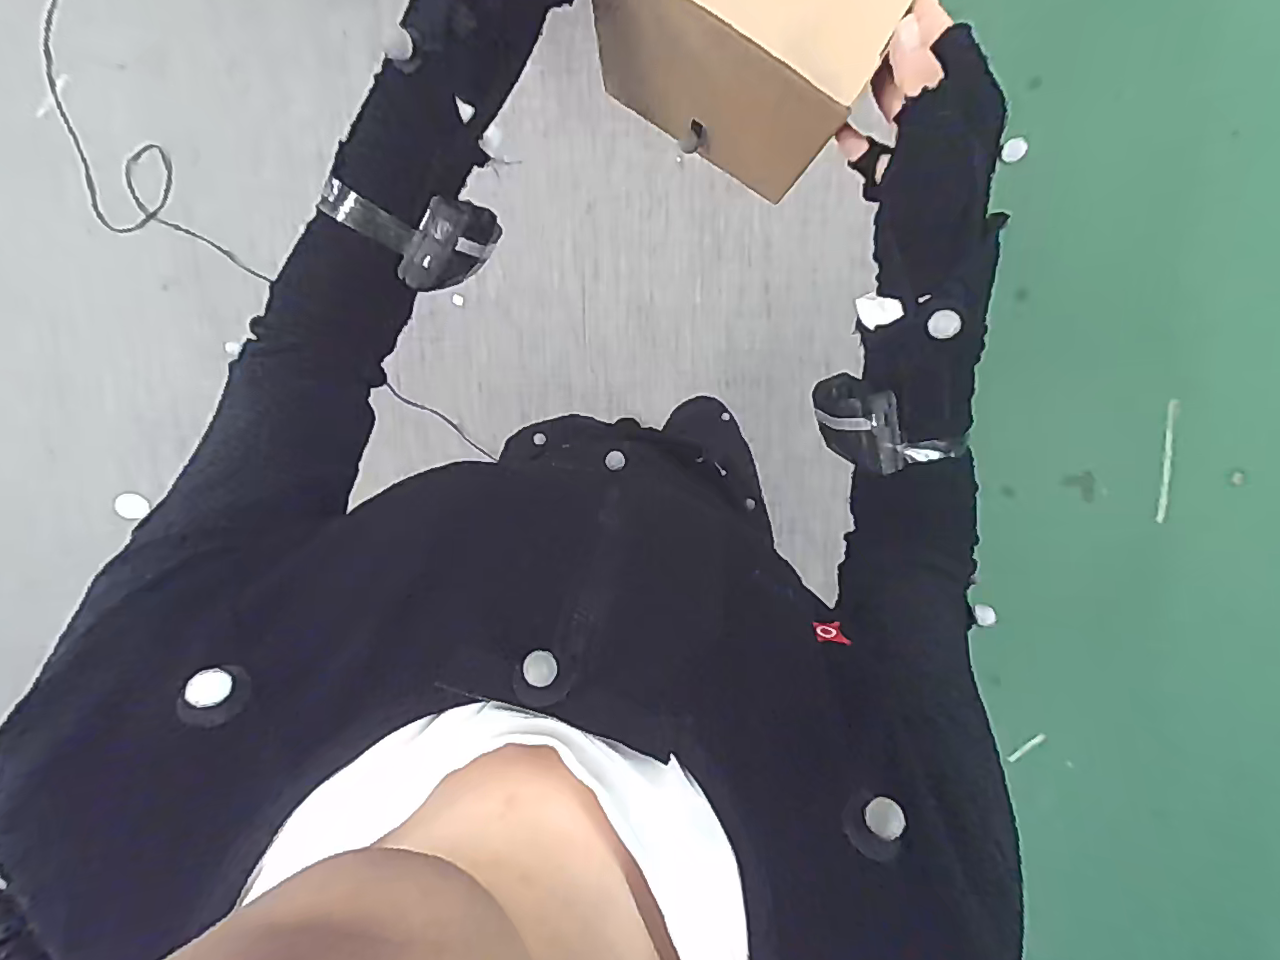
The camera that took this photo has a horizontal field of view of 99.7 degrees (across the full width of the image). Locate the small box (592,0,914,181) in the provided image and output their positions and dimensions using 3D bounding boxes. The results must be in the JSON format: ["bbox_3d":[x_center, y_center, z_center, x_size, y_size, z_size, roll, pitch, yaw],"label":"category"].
[{"bbox_3d":[0.082,-0.334,0.359,0.179,0.176,0.168,30,98,-6],"label":"small box"}]
